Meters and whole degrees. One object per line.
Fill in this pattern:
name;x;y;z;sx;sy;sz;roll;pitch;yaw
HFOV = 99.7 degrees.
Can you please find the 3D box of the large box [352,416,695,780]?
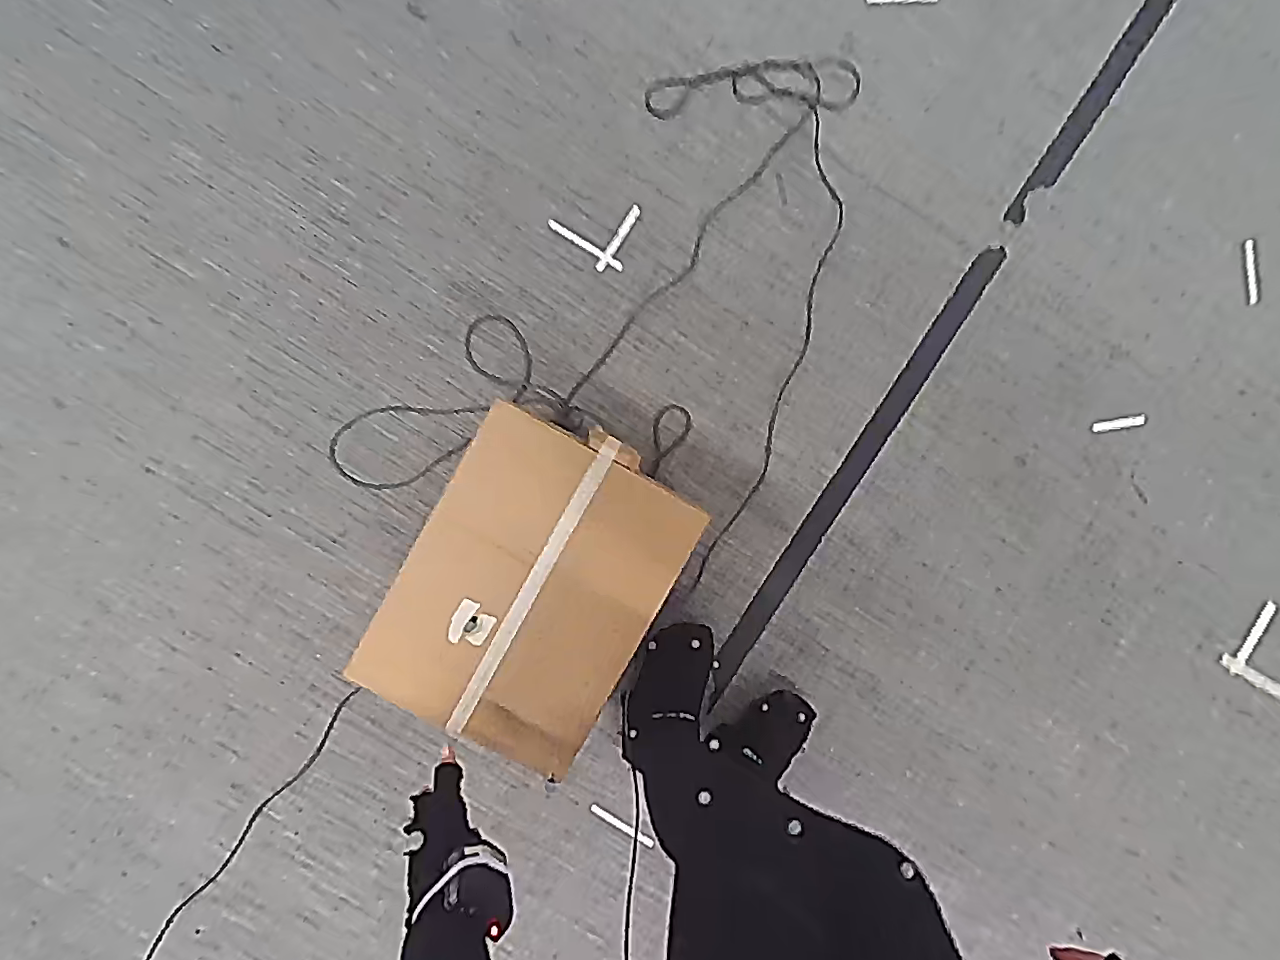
large box;-0.159;0.149;0.853;0.320;0.320;0.408;29;92;-4
